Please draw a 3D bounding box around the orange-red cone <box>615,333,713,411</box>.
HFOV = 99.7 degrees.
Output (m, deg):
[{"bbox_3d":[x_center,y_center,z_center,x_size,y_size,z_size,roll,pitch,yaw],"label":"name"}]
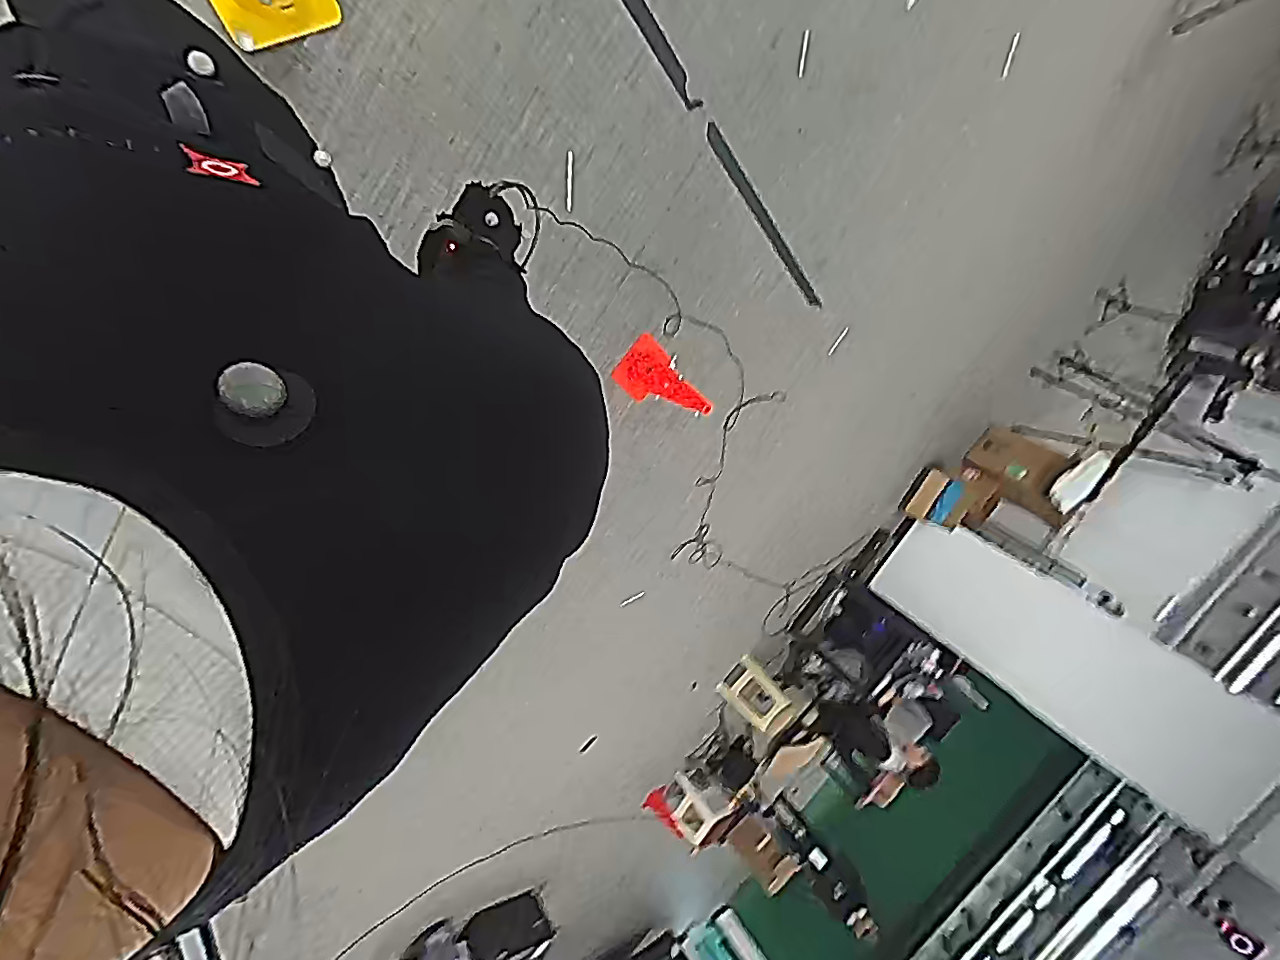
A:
[{"bbox_3d":[0.112,-0.318,1.814,0.198,0.360,0.199,-51,139,1],"label":"orange-red cone"}]
